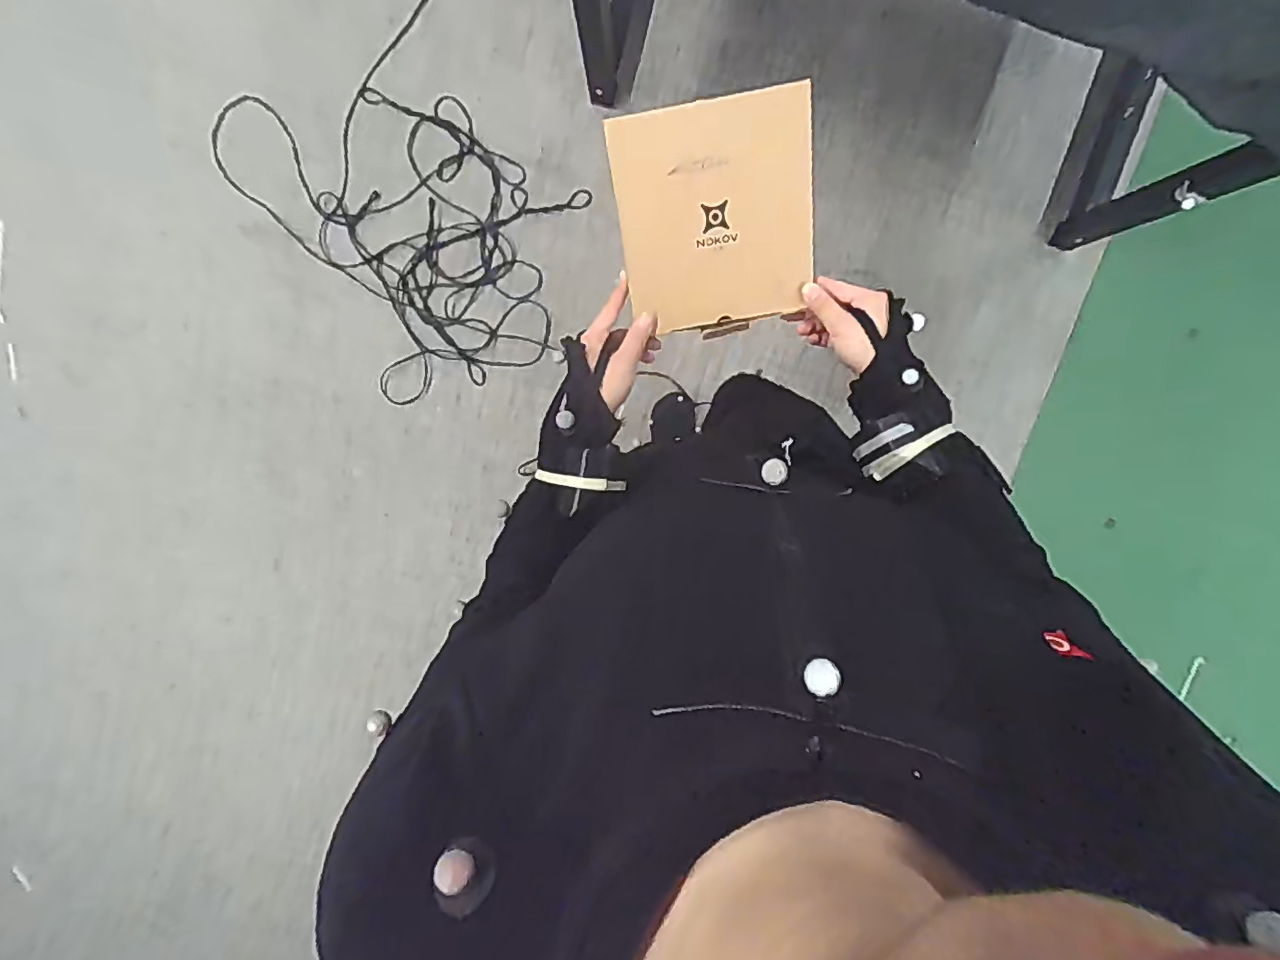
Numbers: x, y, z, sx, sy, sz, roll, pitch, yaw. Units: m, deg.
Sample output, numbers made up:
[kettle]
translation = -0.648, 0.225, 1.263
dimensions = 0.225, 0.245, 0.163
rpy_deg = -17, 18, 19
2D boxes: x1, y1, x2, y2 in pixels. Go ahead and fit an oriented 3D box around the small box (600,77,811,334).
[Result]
[small box]
translation = 0.060, -0.256, 0.526
dimensions = 0.168, 0.176, 0.179
rpy_deg = -9, 115, 3
